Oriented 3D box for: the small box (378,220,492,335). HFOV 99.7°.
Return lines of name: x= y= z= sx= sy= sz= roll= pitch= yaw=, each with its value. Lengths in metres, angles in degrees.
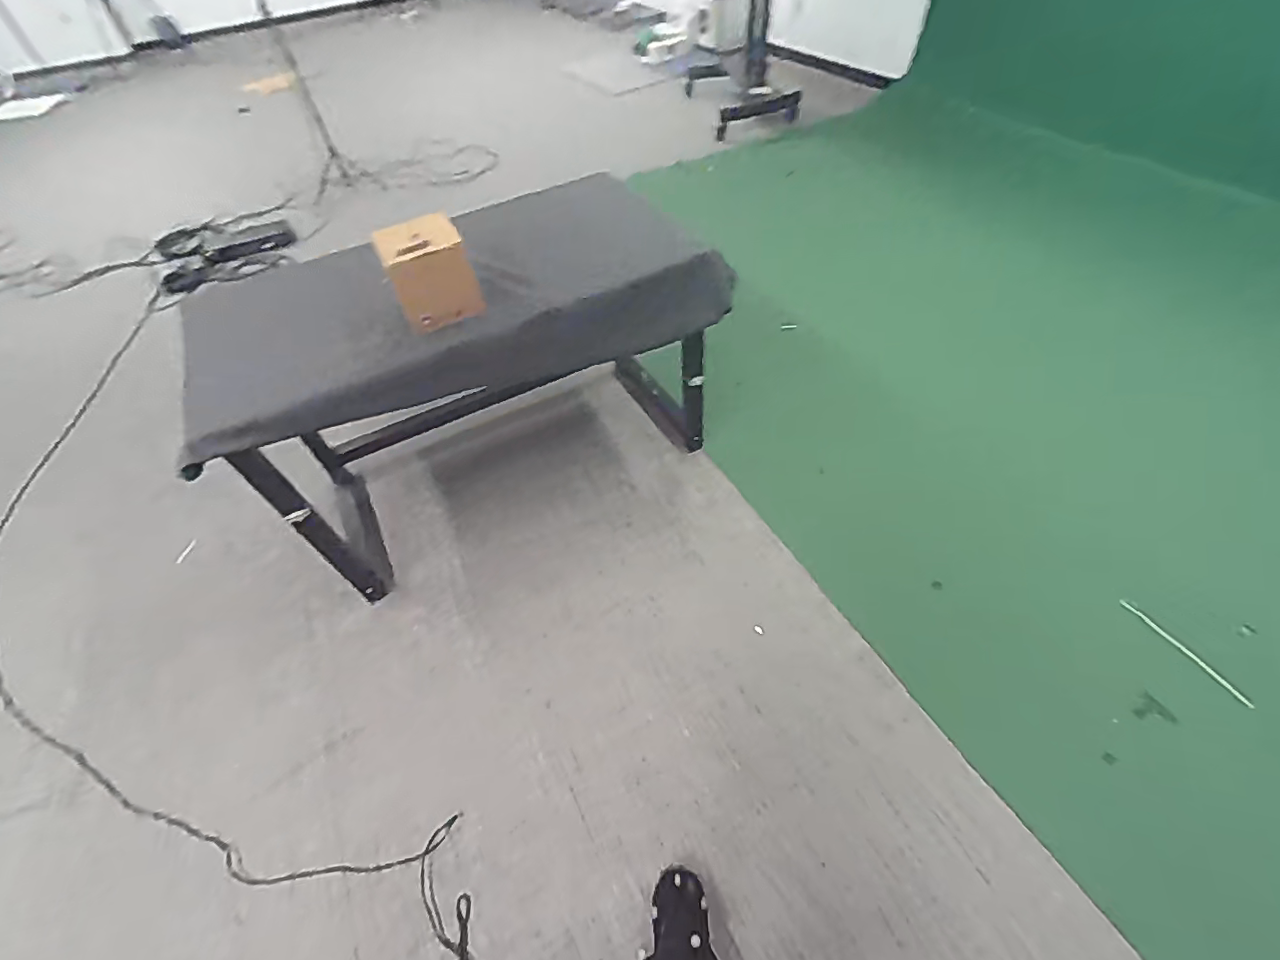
small box: x=-0.456 y=-0.450 z=1.221 sx=0.168 sy=0.176 sz=0.179 roll=-27 pitch=54 yaw=-16
